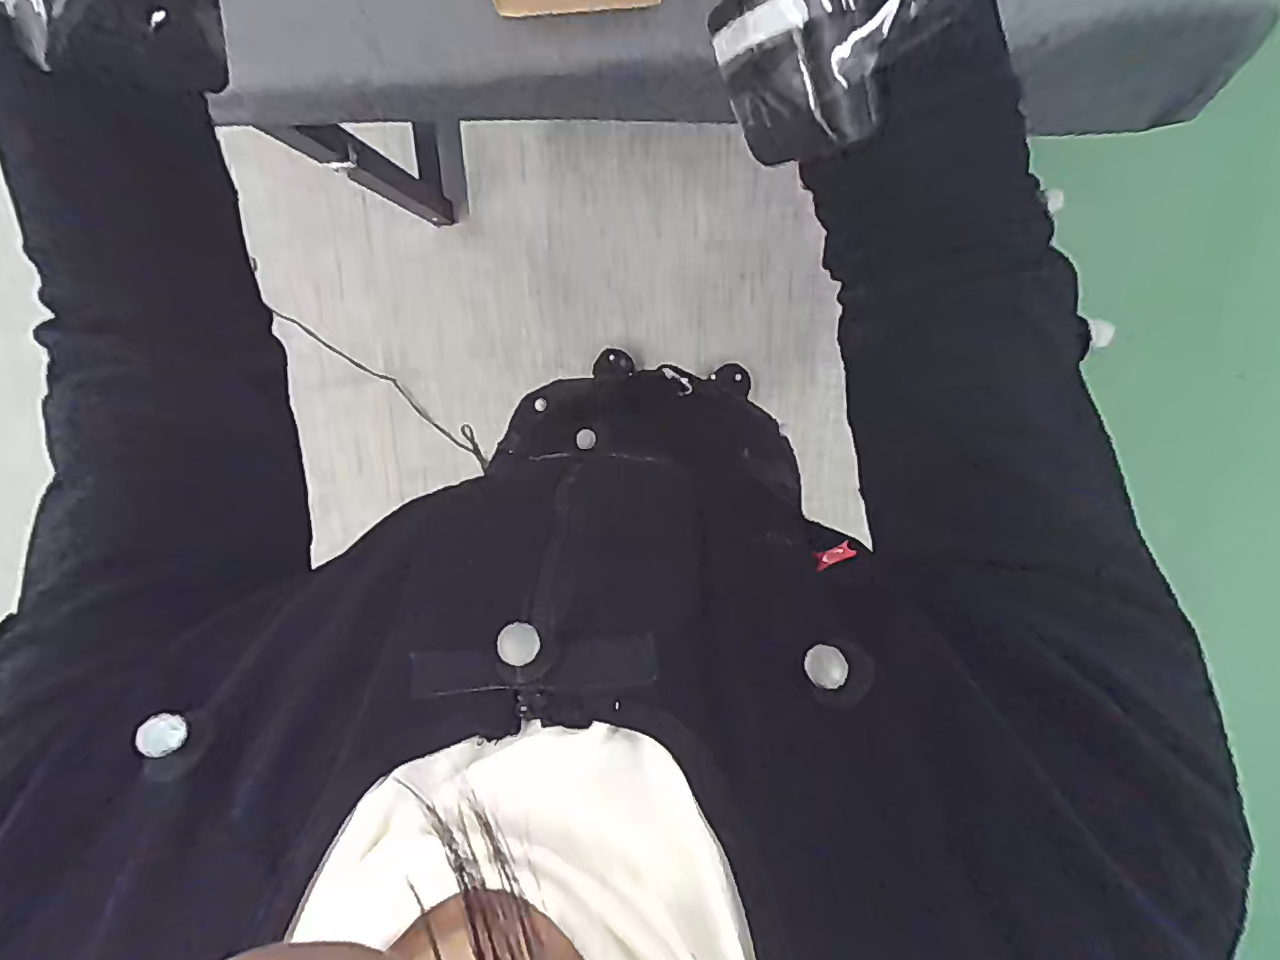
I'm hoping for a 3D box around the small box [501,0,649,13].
[{"bbox_3d":[-0.070,-0.565,0.485,0.179,0.176,0.168,-1,102,3],"label":"small box"}]
